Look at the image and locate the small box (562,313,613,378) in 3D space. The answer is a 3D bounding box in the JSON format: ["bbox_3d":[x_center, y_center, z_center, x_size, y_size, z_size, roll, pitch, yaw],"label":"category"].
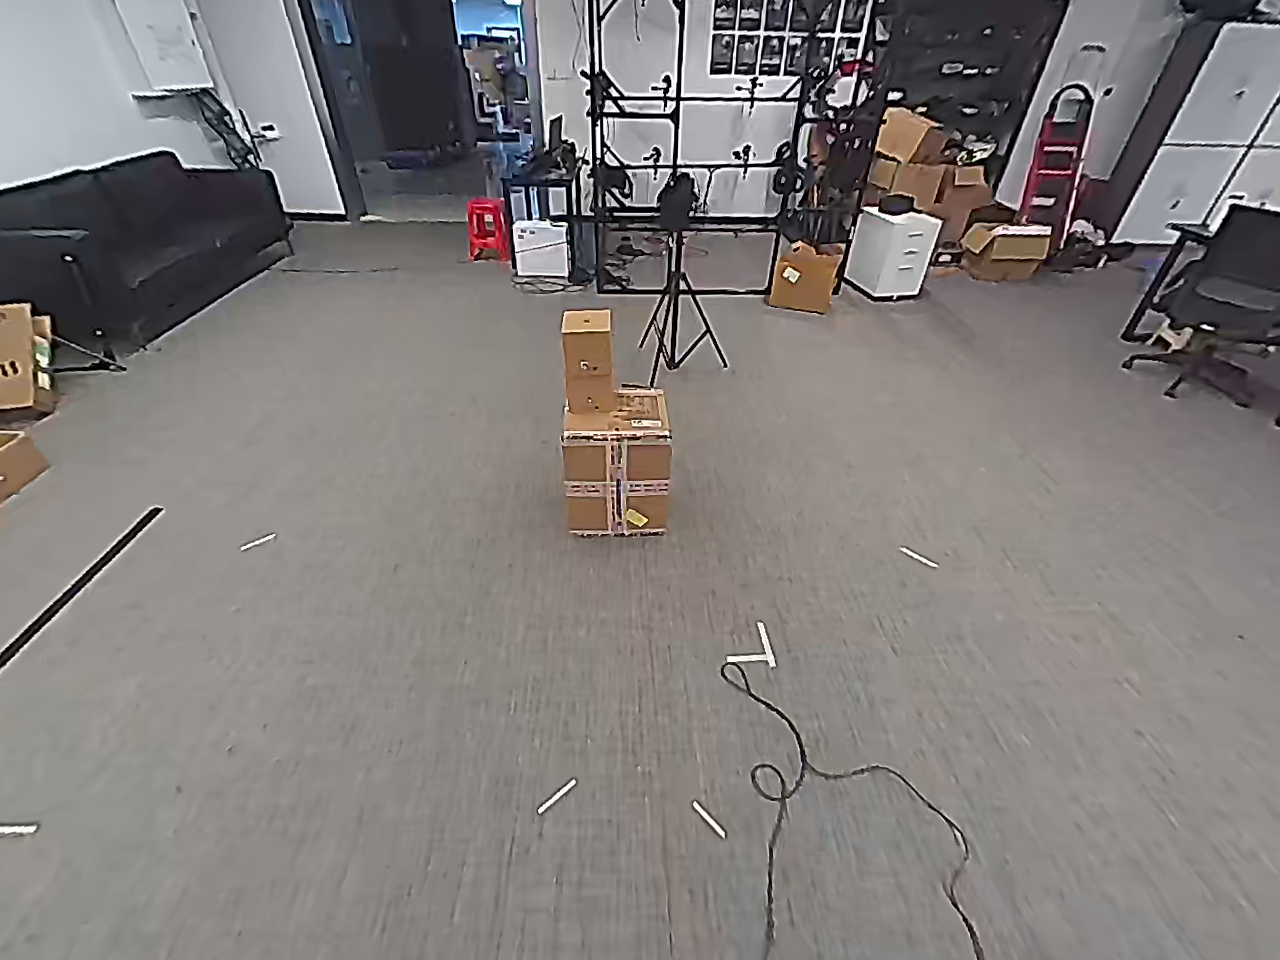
[{"bbox_3d":[-0.182,-0.476,1.914,0.168,0.176,0.179,-3,41,-2],"label":"small box"}]

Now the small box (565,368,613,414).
[{"bbox_3d":[-0.188,-0.364,2.034,0.168,0.176,0.179,-2,40,-2],"label":"small box"}]
